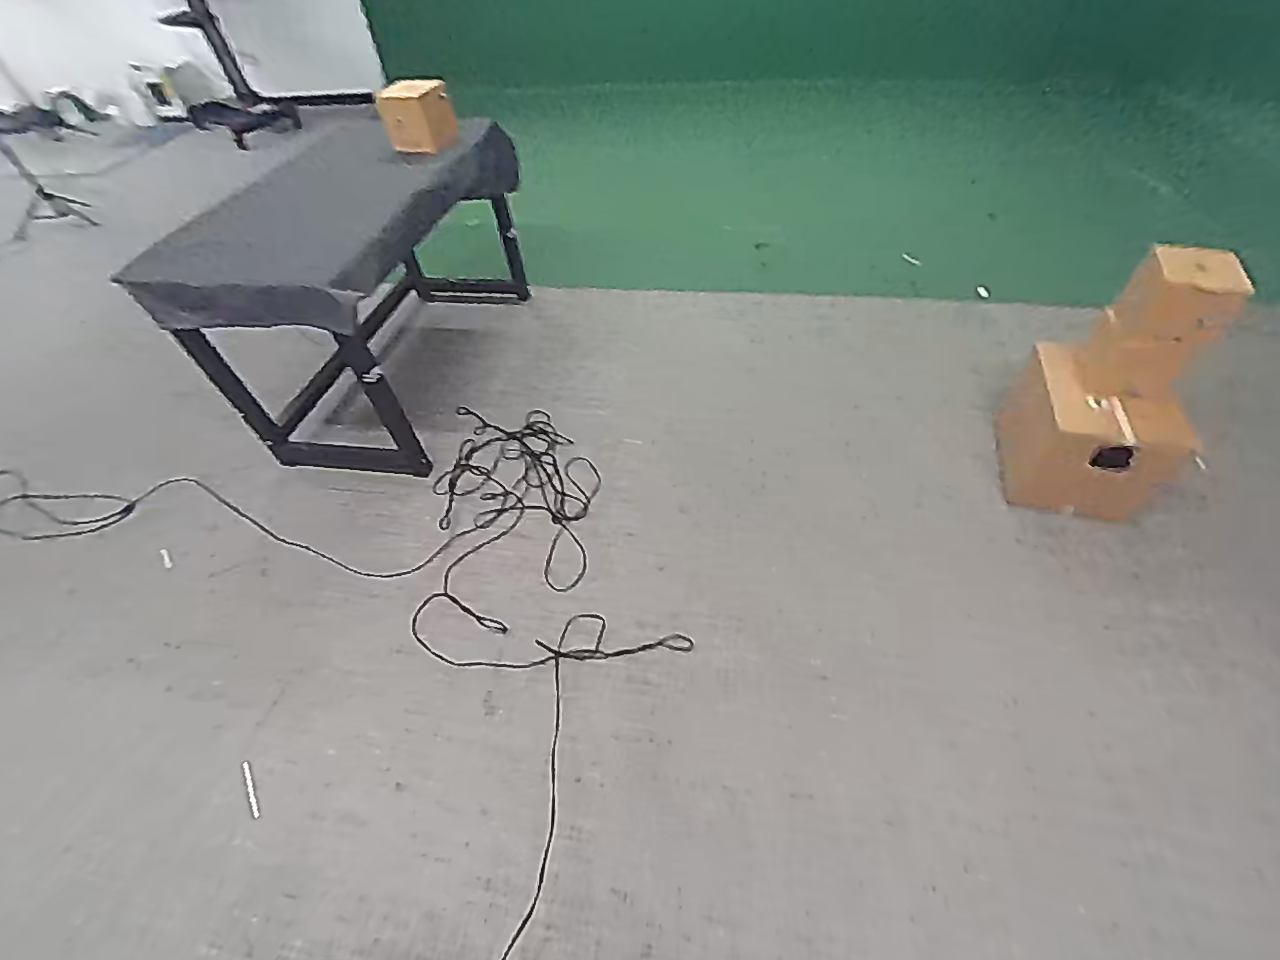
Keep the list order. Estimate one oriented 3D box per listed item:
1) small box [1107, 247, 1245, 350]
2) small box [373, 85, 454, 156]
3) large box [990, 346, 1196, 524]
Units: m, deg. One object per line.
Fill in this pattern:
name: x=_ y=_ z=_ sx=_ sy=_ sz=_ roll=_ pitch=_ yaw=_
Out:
small box: x=1.294 y=-0.441 z=1.322 sx=0.168 sy=0.176 sz=0.179 roll=15 pitch=52 yaw=15
small box: x=-0.769 y=-1.235 z=1.861 sx=0.168 sy=0.176 sz=0.179 roll=10 pitch=50 yaw=14
large box: x=1.291 y=-0.139 z=1.601 sx=0.320 sy=0.320 sz=0.408 roll=10 pitch=52 yaw=14
